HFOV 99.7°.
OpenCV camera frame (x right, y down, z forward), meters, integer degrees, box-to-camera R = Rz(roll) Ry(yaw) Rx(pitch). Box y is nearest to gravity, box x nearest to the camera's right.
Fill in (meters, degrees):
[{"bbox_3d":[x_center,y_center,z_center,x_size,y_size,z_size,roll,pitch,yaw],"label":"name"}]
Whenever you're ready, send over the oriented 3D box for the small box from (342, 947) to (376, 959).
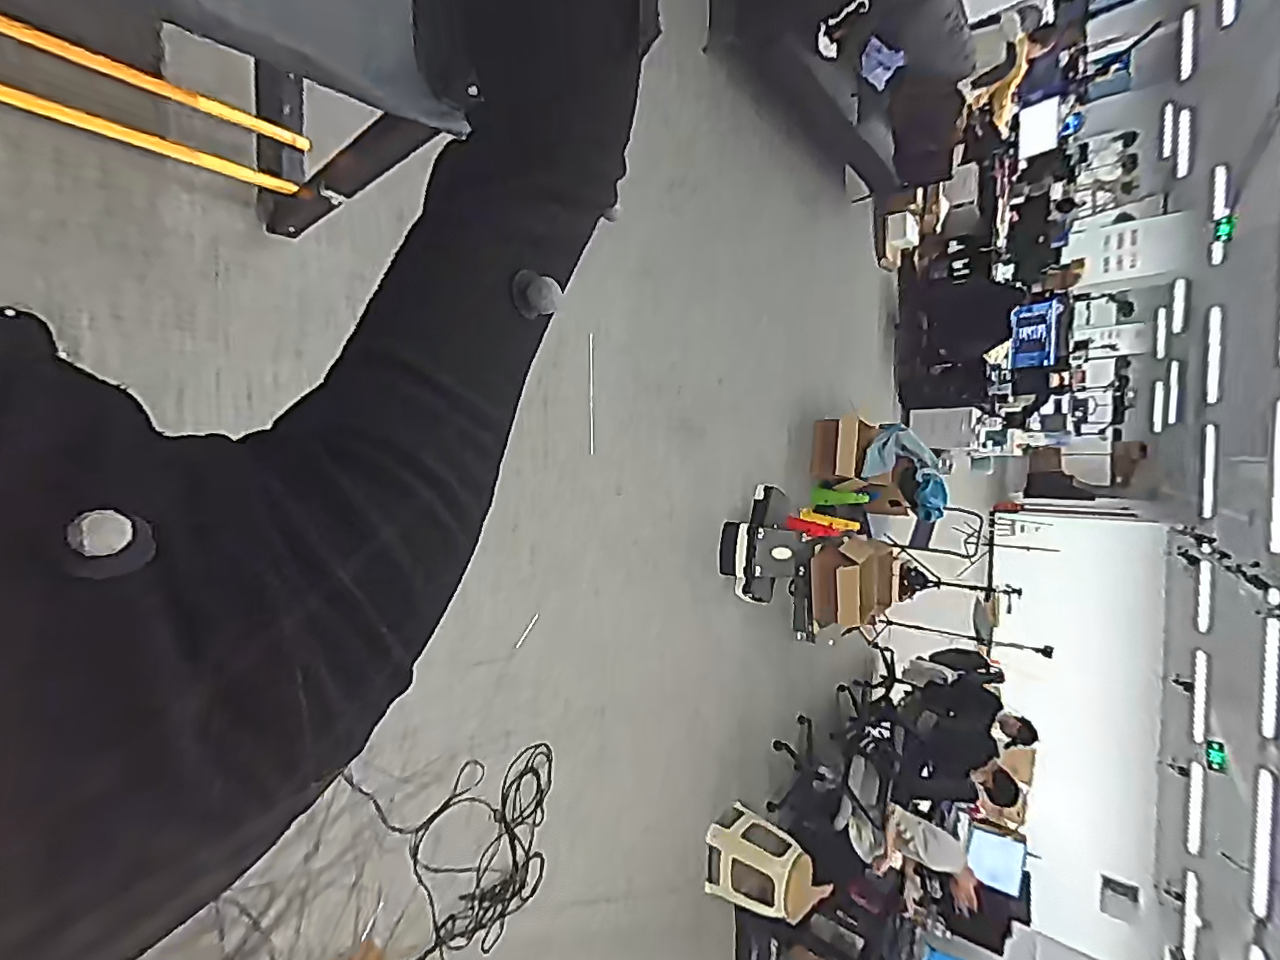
[{"bbox_3d":[-0.753,1.384,1.401,0.168,0.176,0.179,-3,93,-51],"label":"small box"}]
